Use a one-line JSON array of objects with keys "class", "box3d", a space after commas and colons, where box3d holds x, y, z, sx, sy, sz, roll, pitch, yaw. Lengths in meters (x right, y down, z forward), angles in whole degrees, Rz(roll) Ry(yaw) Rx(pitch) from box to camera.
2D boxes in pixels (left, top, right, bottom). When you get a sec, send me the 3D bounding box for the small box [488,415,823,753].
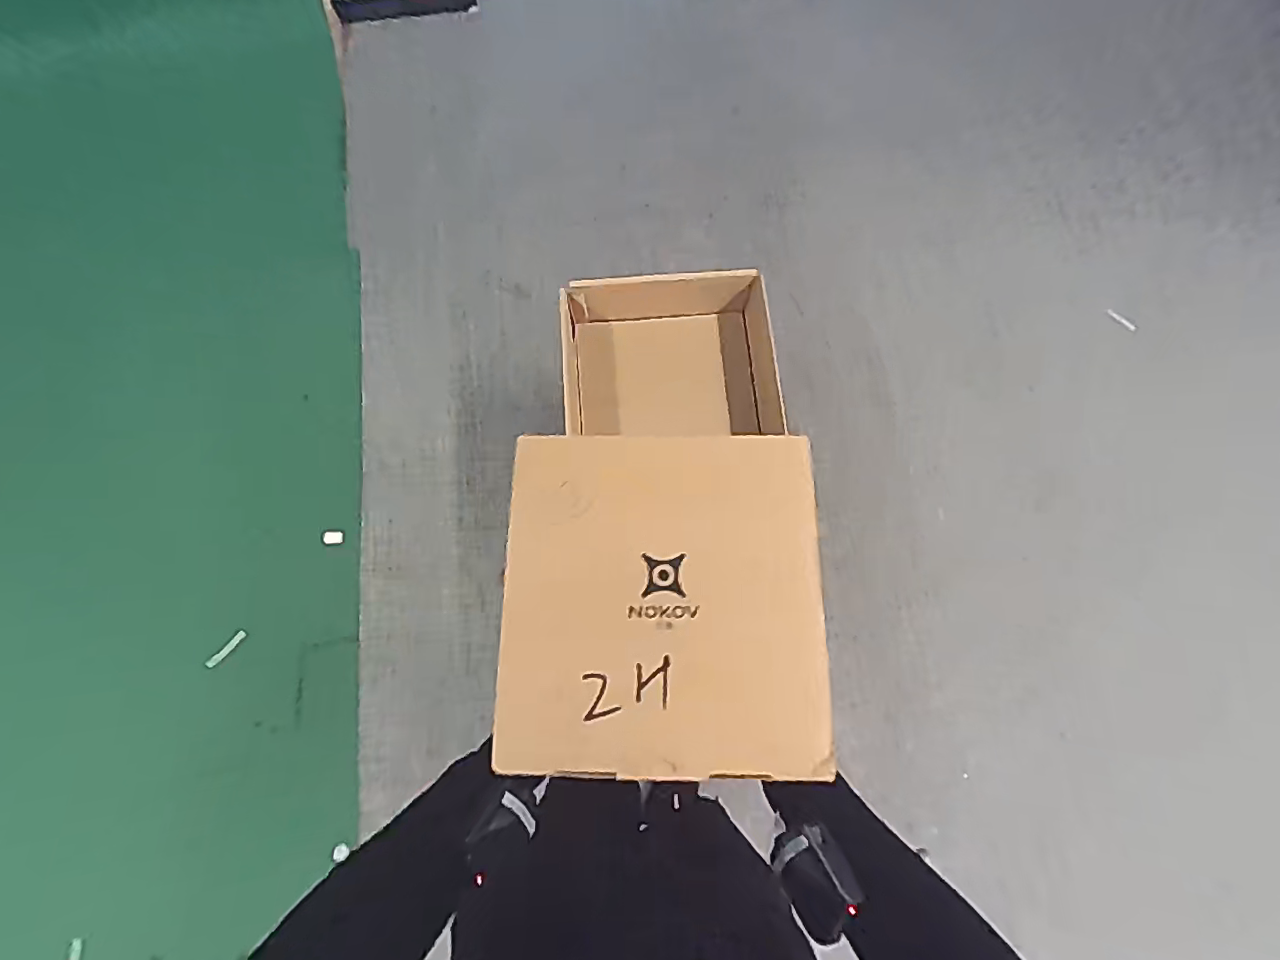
[{"class": "small box", "box3d": [0.011, 0.070, 0.361, 0.168, 0.176, 0.179, -1, 74, 3]}]
